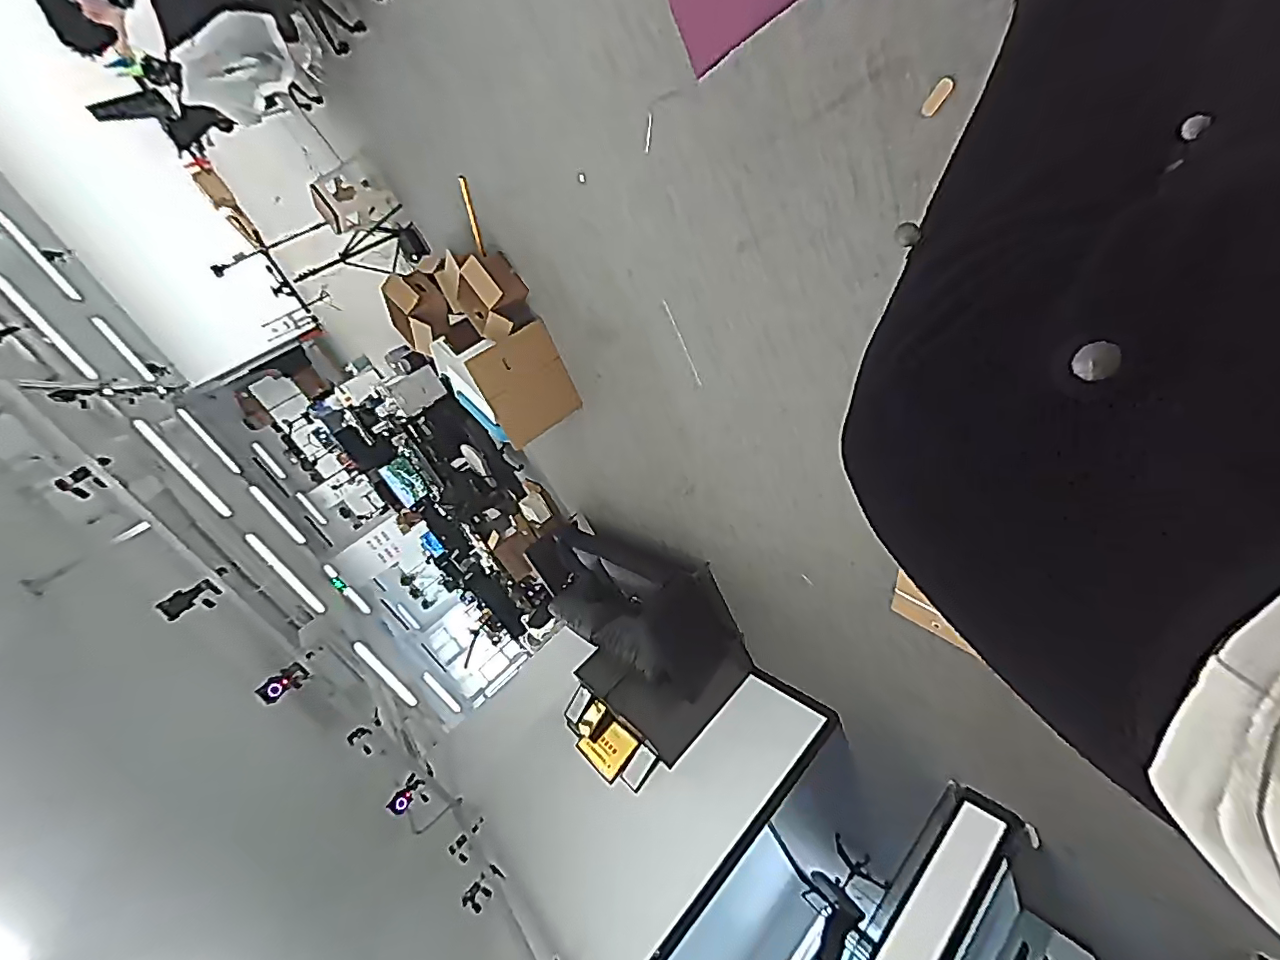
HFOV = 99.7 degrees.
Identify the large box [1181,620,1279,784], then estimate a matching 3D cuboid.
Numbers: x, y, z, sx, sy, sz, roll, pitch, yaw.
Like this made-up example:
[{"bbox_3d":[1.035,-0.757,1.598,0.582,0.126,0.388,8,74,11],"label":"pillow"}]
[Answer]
[{"bbox_3d":[1.768,0.570,1.388,0.320,0.320,0.408,48,155,3],"label":"large box"}]
